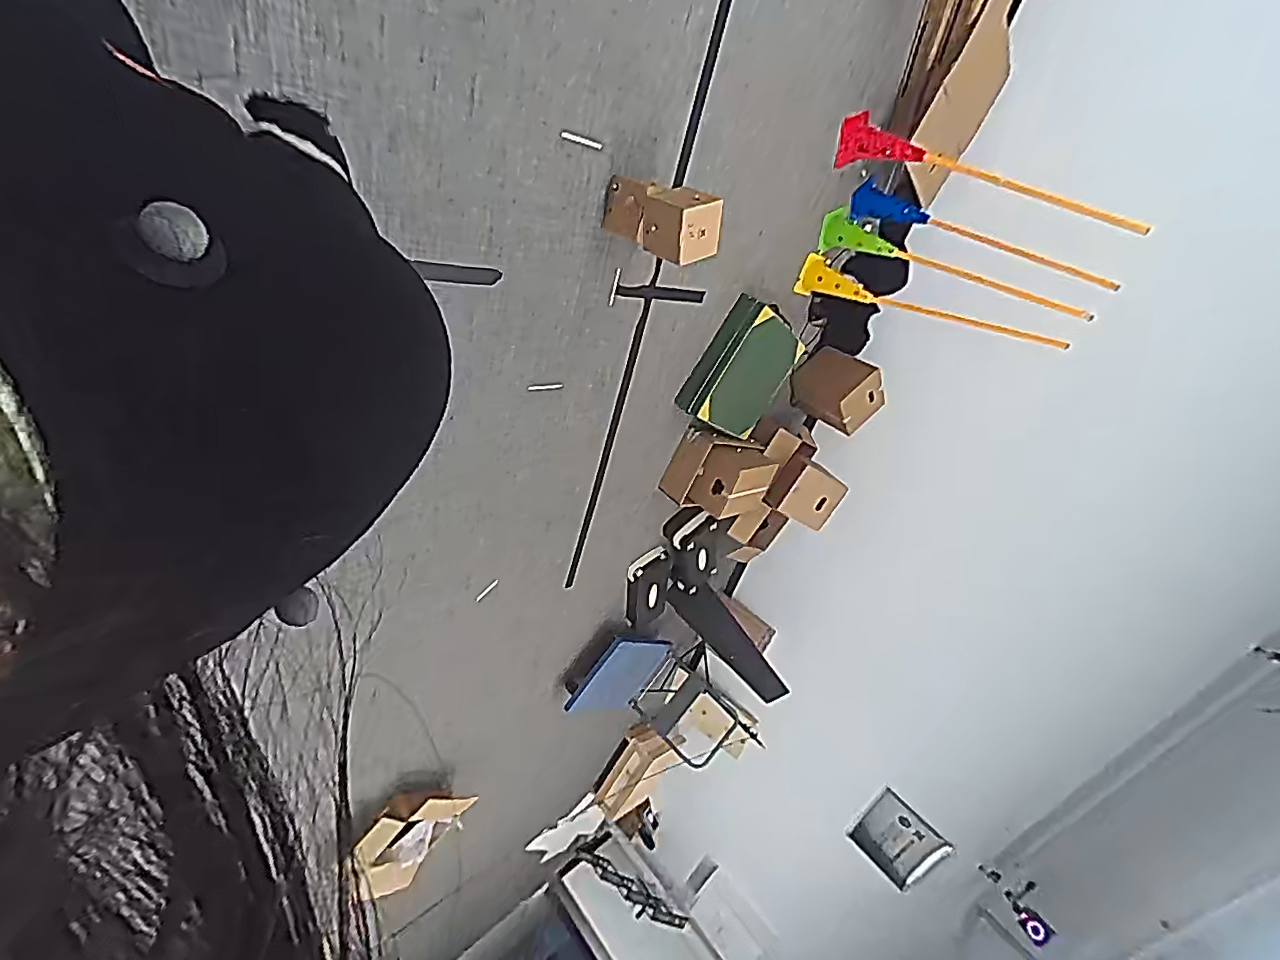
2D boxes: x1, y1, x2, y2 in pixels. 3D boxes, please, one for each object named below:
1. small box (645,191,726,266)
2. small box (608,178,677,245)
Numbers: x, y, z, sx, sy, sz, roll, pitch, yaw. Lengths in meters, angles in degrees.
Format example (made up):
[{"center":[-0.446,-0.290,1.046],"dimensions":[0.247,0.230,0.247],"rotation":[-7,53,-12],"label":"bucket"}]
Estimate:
[{"center":[0.138,-0.786,1.680],"dimensions":[0.179,0.176,0.168],"rotation":[-26,139,-31],"label":"small box"},{"center":[0.020,-0.868,1.762],"dimensions":[0.179,0.176,0.168],"rotation":[-17,135,-43],"label":"small box"}]
